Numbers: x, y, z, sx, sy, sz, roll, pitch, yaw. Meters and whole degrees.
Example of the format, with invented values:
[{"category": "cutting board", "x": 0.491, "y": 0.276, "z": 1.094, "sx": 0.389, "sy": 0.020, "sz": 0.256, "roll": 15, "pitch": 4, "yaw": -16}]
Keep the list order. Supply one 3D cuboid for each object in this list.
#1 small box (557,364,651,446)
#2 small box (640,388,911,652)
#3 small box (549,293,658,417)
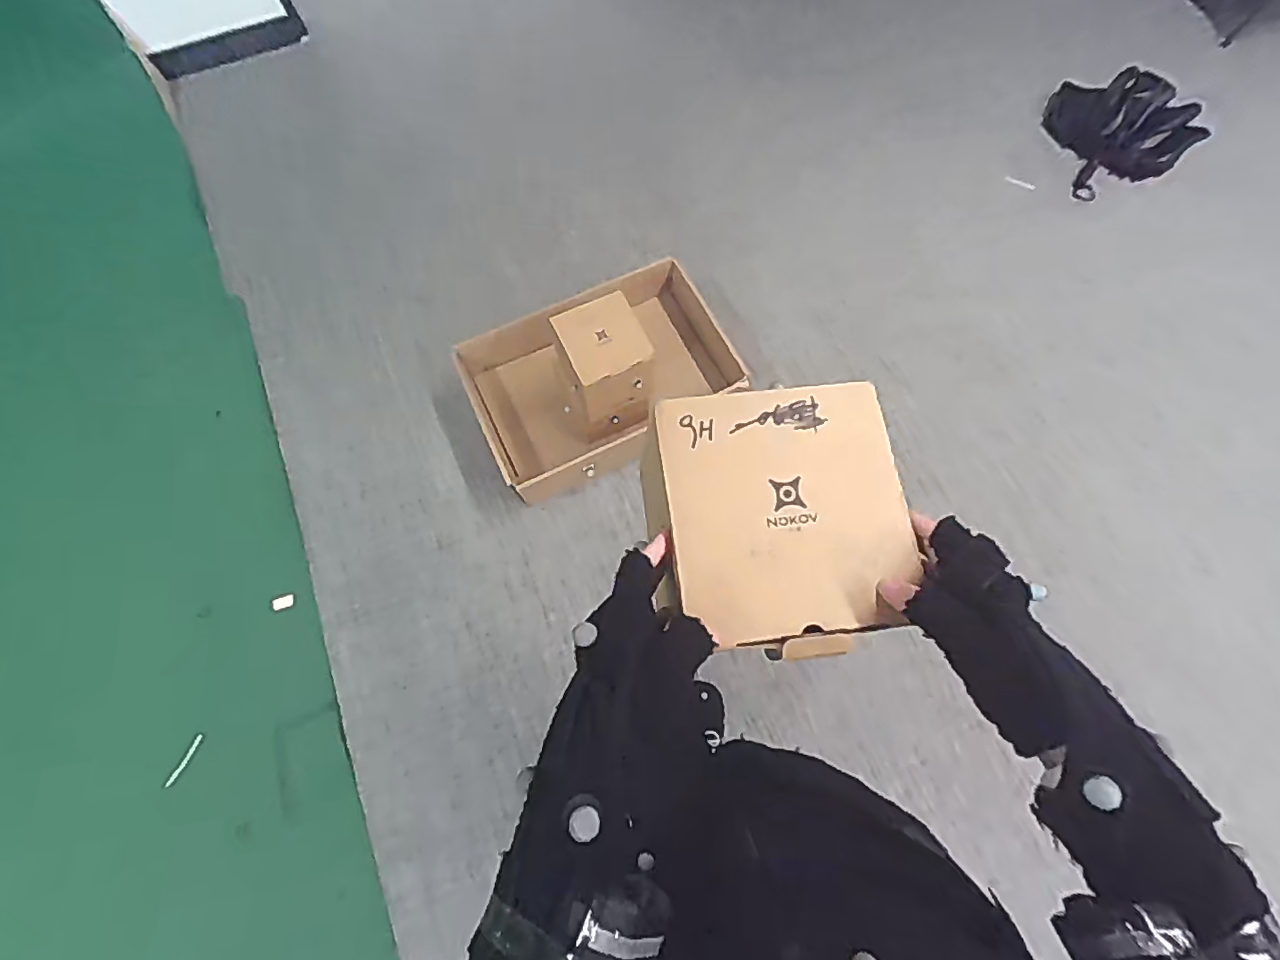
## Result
[{"category": "small box", "x": -0.084, "y": -0.209, "z": 1.332, "sx": 0.179, "sy": 0.176, "sz": 0.168, "roll": -25, "pitch": 73, "yaw": -5}, {"category": "small box", "x": 0.092, "y": 0.041, "z": 0.460, "sx": 0.168, "sy": 0.176, "sz": 0.179, "roll": -7, "pitch": 76, "yaw": -4}, {"category": "small box", "x": -0.074, "y": -0.255, "z": 1.160, "sx": 0.168, "sy": 0.176, "sz": 0.179, "roll": -29, "pitch": 75, "yaw": -9}]
